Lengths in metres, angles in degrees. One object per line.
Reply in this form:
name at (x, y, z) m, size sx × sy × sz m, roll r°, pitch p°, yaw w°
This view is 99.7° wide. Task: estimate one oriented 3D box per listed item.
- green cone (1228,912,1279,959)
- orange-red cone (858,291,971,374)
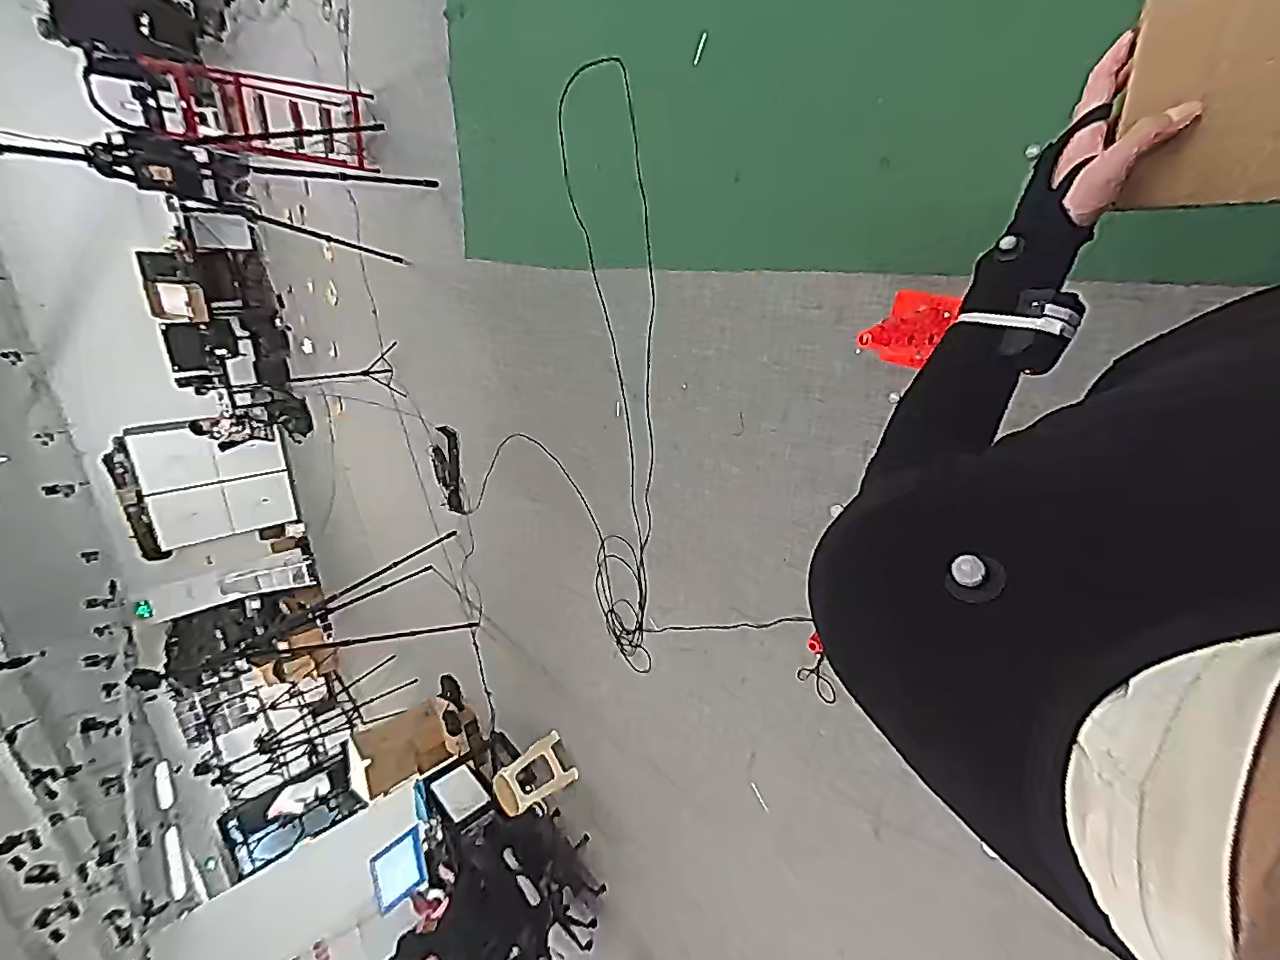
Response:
green cone at (1.403, 1.159, 1.123) m, size 0.200 × 0.368 × 0.202 m, roll 28°, pitch 122°, yaw 39°
orange-red cone at (0.659, -0.372, 1.387) m, size 0.199 × 0.360 × 0.198 m, roll 31°, pitch 124°, yaw 40°
